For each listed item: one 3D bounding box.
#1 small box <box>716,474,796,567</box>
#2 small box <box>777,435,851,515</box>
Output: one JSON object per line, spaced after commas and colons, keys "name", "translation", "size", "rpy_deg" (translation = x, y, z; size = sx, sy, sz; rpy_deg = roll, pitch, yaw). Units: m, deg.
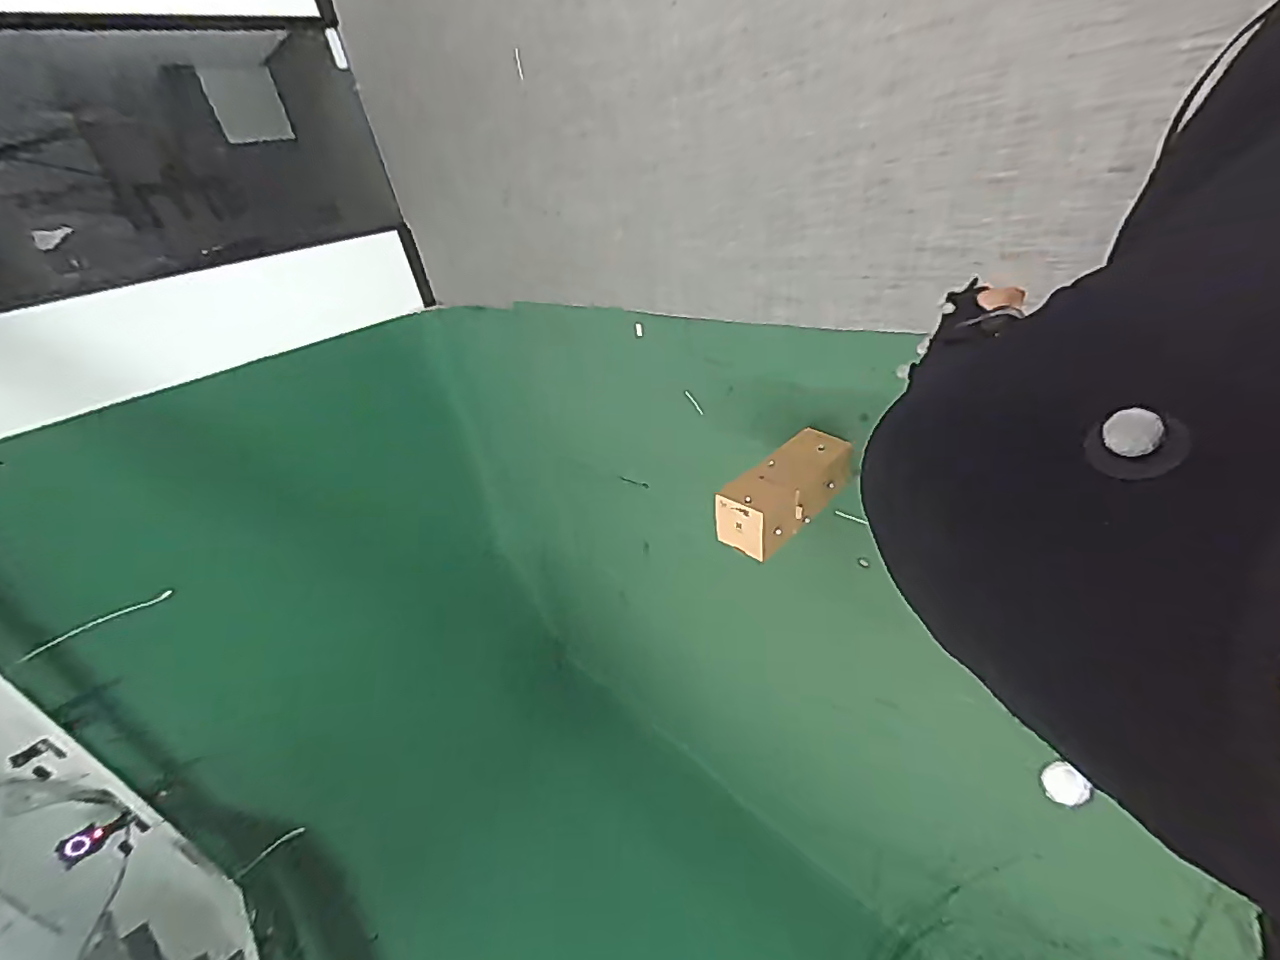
{"name": "small box", "translation": [0.339, 0.113, 1.572], "size": [0.168, 0.176, 0.179], "rpy_deg": [25, 135, 40]}
{"name": "small box", "translation": [0.568, -0.024, 1.765], "size": [0.168, 0.176, 0.179], "rpy_deg": [28, 136, 37]}
